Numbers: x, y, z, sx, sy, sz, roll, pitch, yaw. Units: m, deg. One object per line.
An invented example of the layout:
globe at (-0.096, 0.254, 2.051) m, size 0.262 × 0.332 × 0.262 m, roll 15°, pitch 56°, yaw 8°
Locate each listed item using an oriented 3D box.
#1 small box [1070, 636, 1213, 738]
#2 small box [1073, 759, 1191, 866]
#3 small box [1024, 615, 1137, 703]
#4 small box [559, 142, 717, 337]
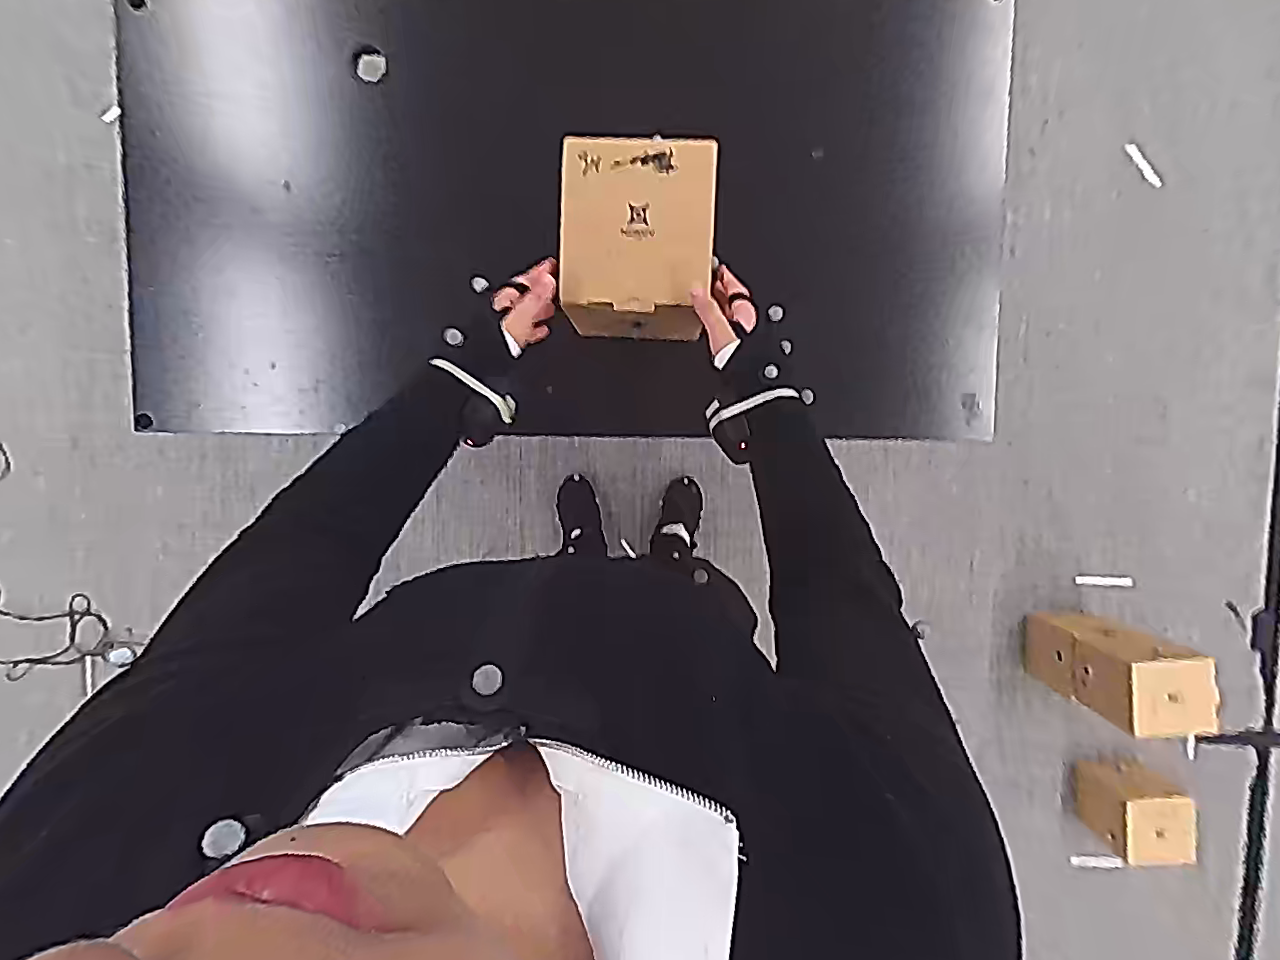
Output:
small box at (1.136, 0.464, 1.235) m, size 0.179 × 0.176 × 0.168 m, roll -5°, pitch 92°, yaw 3°
small box at (1.284, 0.868, 1.421) m, size 0.168 × 0.176 × 0.179 m, roll -5°, pitch 94°, yaw 2°
small box at (1.130, 0.454, 1.398) m, size 0.168 × 0.176 × 0.179 m, roll -2°, pitch 94°, yaw 2°
small box at (0.001, -0.277, 0.661) m, size 0.168 × 0.176 × 0.179 m, roll 3°, pitch 94°, yaw 2°
